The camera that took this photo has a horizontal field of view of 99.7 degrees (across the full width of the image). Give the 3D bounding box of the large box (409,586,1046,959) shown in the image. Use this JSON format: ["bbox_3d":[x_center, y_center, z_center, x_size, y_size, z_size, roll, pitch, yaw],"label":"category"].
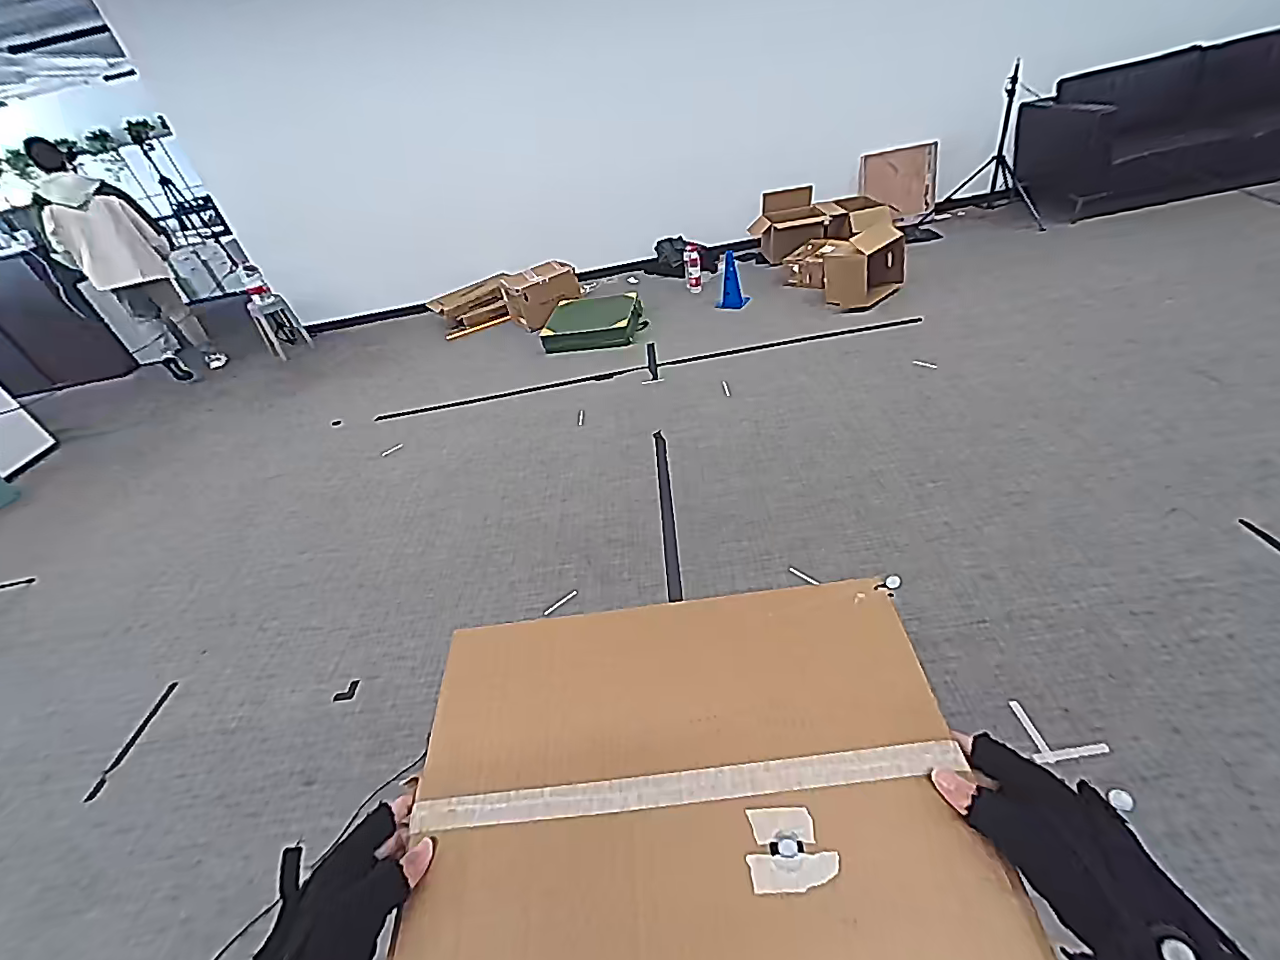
[{"bbox_3d":[0.054,0.340,0.512,0.408,0.320,0.320,-8,45,2],"label":"large box"}]
